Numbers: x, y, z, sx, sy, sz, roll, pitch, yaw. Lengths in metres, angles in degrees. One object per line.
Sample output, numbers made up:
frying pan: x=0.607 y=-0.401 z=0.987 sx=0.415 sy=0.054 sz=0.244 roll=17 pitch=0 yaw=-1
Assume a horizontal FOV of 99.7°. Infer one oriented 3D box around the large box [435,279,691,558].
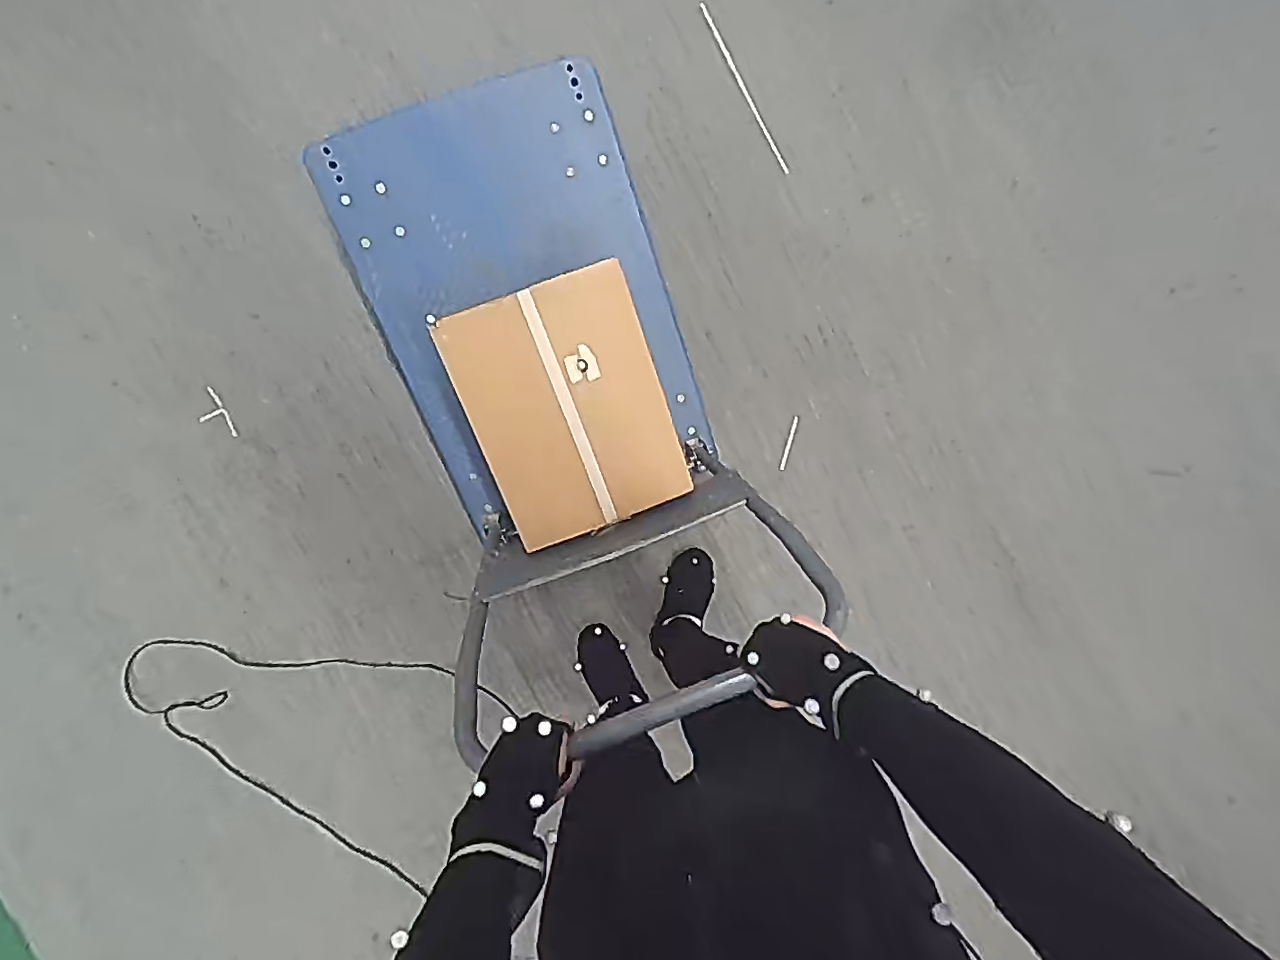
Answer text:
large box: x=-0.132 y=-0.124 z=1.053 sx=0.320 sy=0.320 sz=0.408 roll=-21 pitch=105 yaw=-2
